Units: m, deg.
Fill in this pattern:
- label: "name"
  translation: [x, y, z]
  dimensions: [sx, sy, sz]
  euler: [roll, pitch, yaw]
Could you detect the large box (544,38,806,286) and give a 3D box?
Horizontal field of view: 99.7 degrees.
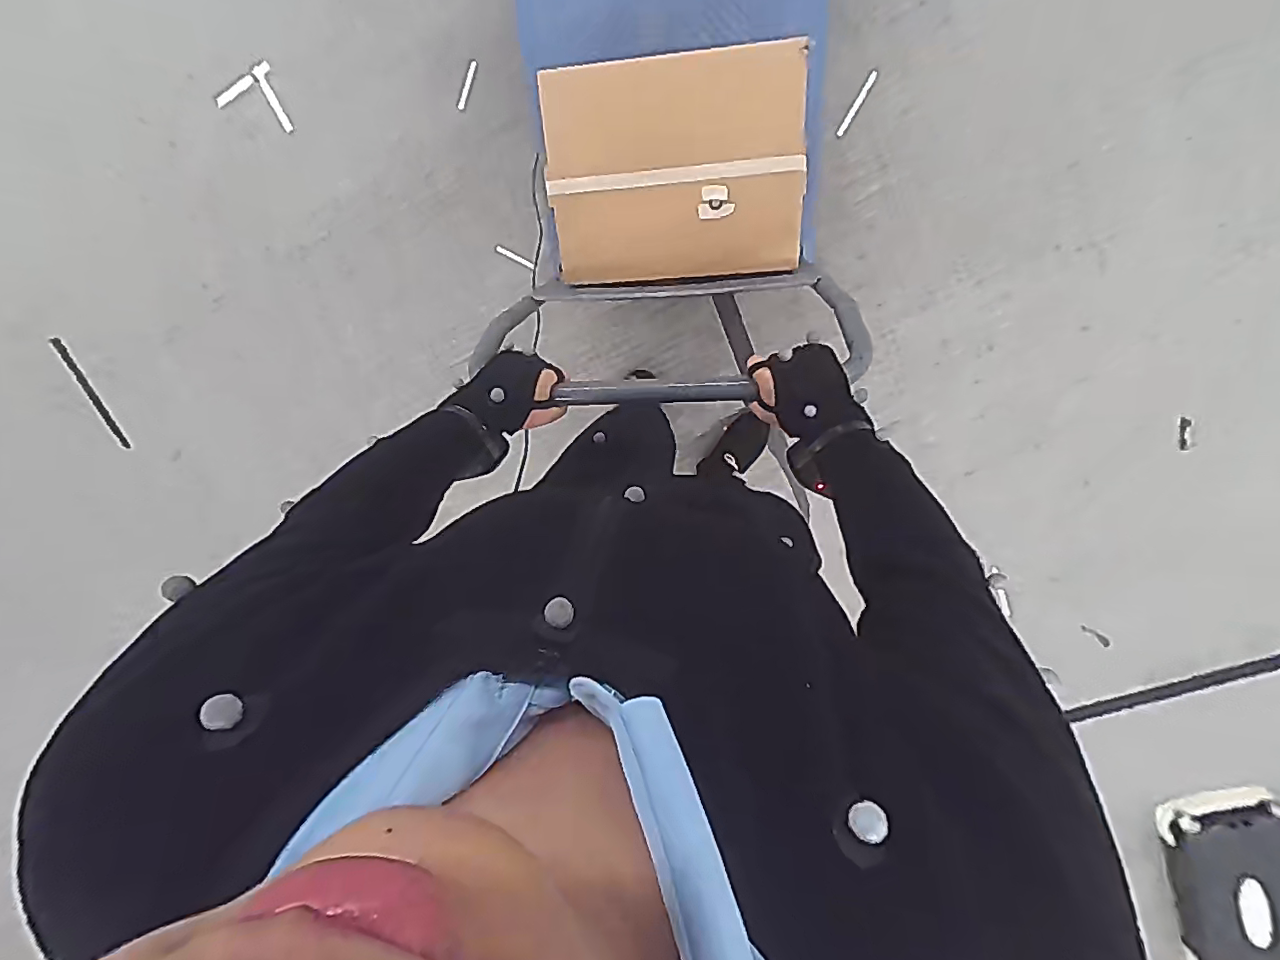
- label: "large box"
  translation: [0.073, -0.560, 1.010]
  dimensions: [0.408, 0.320, 0.320]
  euler: [-2, 116, 7]
